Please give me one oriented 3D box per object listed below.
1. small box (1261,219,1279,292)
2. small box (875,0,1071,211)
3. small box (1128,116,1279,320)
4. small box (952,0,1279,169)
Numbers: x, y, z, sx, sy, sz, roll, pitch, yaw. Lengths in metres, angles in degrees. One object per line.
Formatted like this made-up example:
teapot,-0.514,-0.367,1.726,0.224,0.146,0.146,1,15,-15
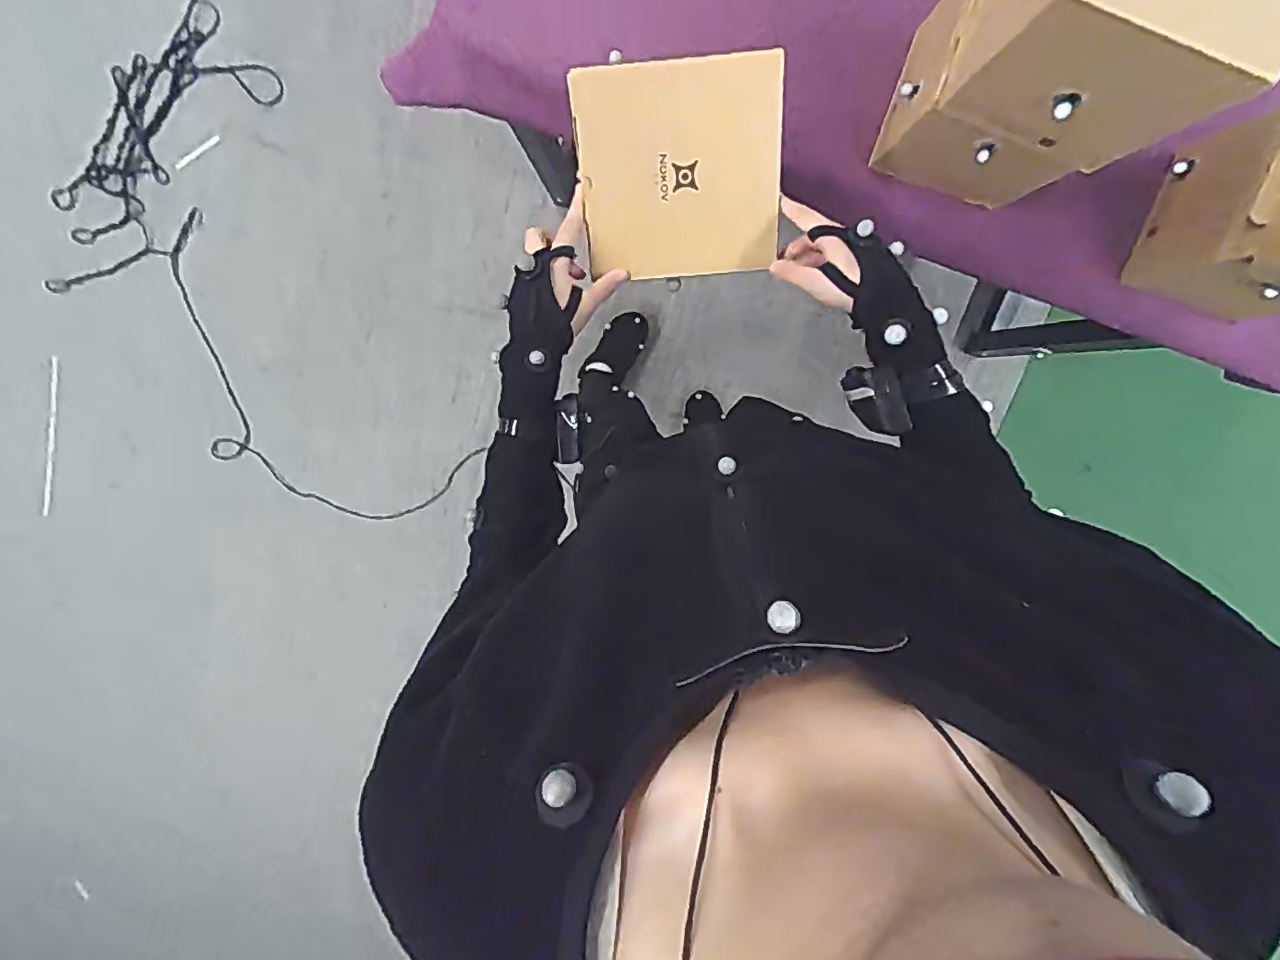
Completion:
small box,0.713,-0.243,0.454,0.168,0.176,0.179,19,100,-1
small box,0.394,-0.426,0.599,0.179,0.176,0.168,18,100,-2
small box,0.726,-0.289,0.612,0.179,0.176,0.168,16,101,-1
small box,0.394,-0.391,0.438,0.168,0.176,0.179,21,100,-2
